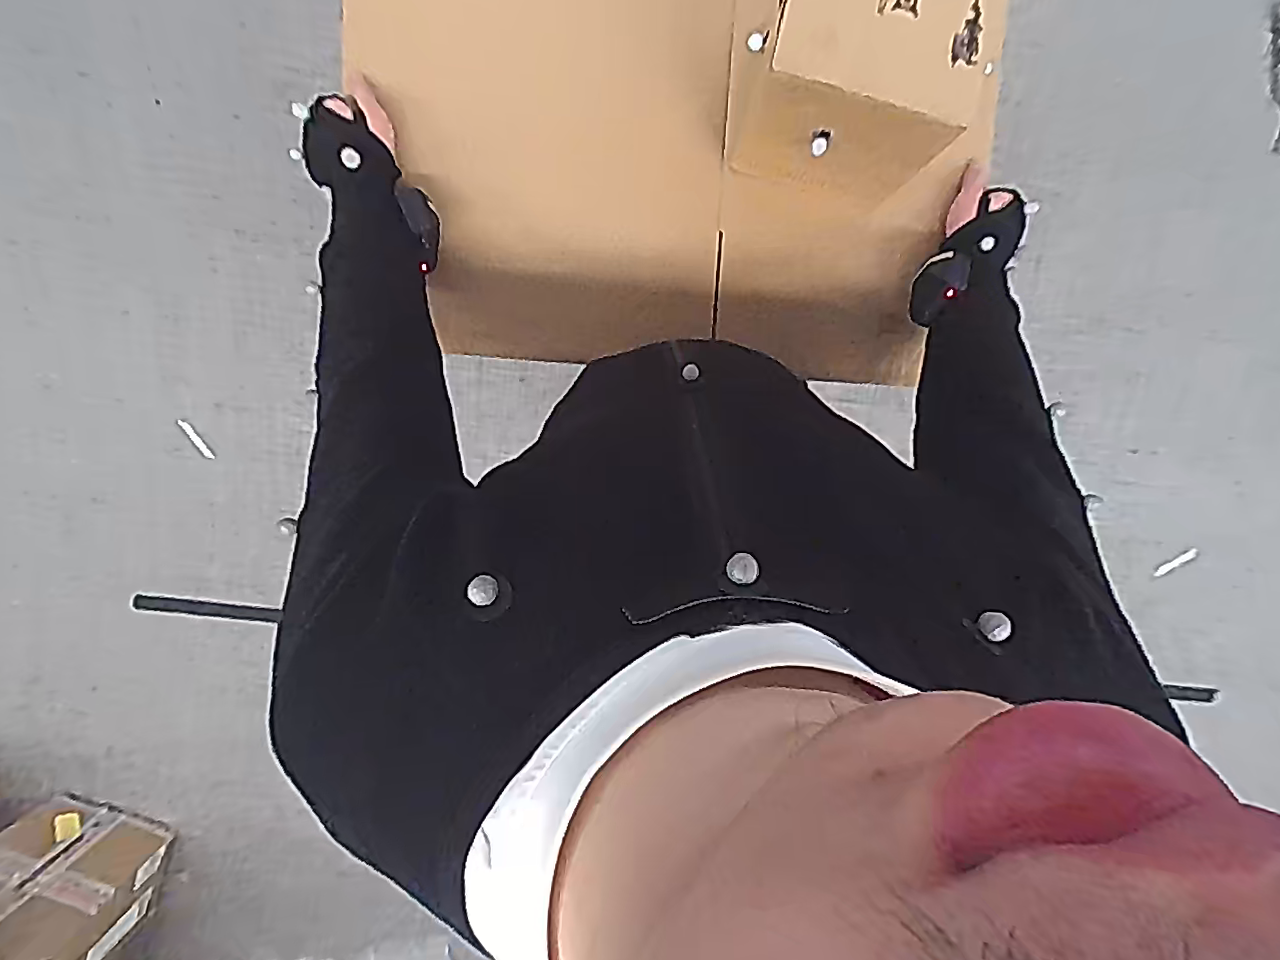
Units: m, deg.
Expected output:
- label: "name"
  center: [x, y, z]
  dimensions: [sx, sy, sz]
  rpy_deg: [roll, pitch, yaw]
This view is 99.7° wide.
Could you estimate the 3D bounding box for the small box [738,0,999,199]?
- label: "small box"
  center: [0.207, -0.402, 0.524]
  dimensions: [0.179, 0.176, 0.168]
  rpy_deg: [14, 95, -2]
